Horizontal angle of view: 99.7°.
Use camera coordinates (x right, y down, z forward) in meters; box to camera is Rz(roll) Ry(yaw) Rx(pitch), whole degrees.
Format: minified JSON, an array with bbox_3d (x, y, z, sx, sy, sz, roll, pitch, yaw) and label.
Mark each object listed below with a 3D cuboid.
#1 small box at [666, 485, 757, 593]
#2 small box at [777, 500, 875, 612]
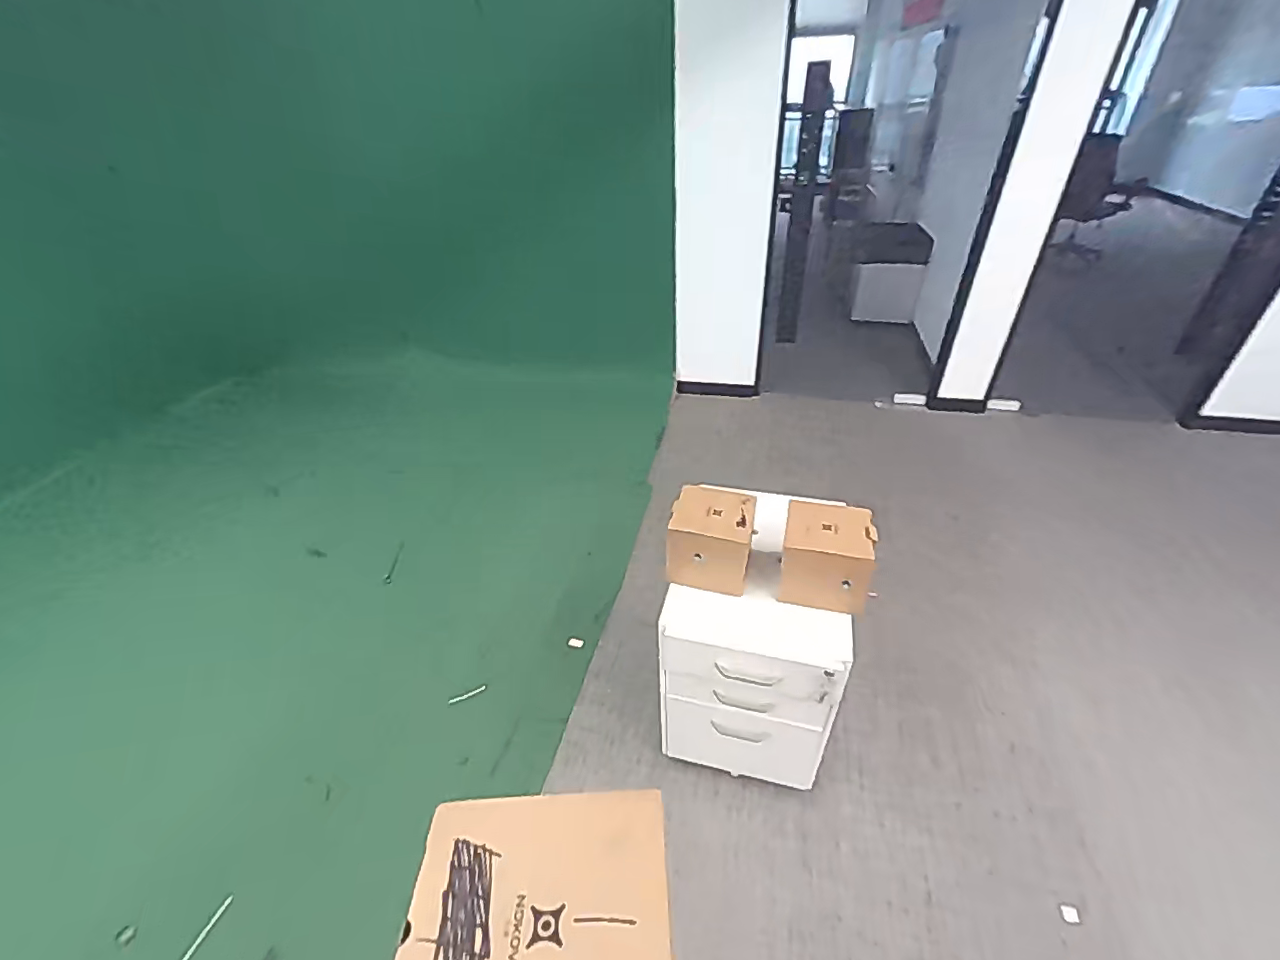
[{"bbox_3d":[0.162,0.135,1.231,0.179,0.176,0.168,9,39,14],"label":"small box"},{"bbox_3d":[0.399,0.166,1.176,0.179,0.176,0.168,6,36,14],"label":"small box"}]
